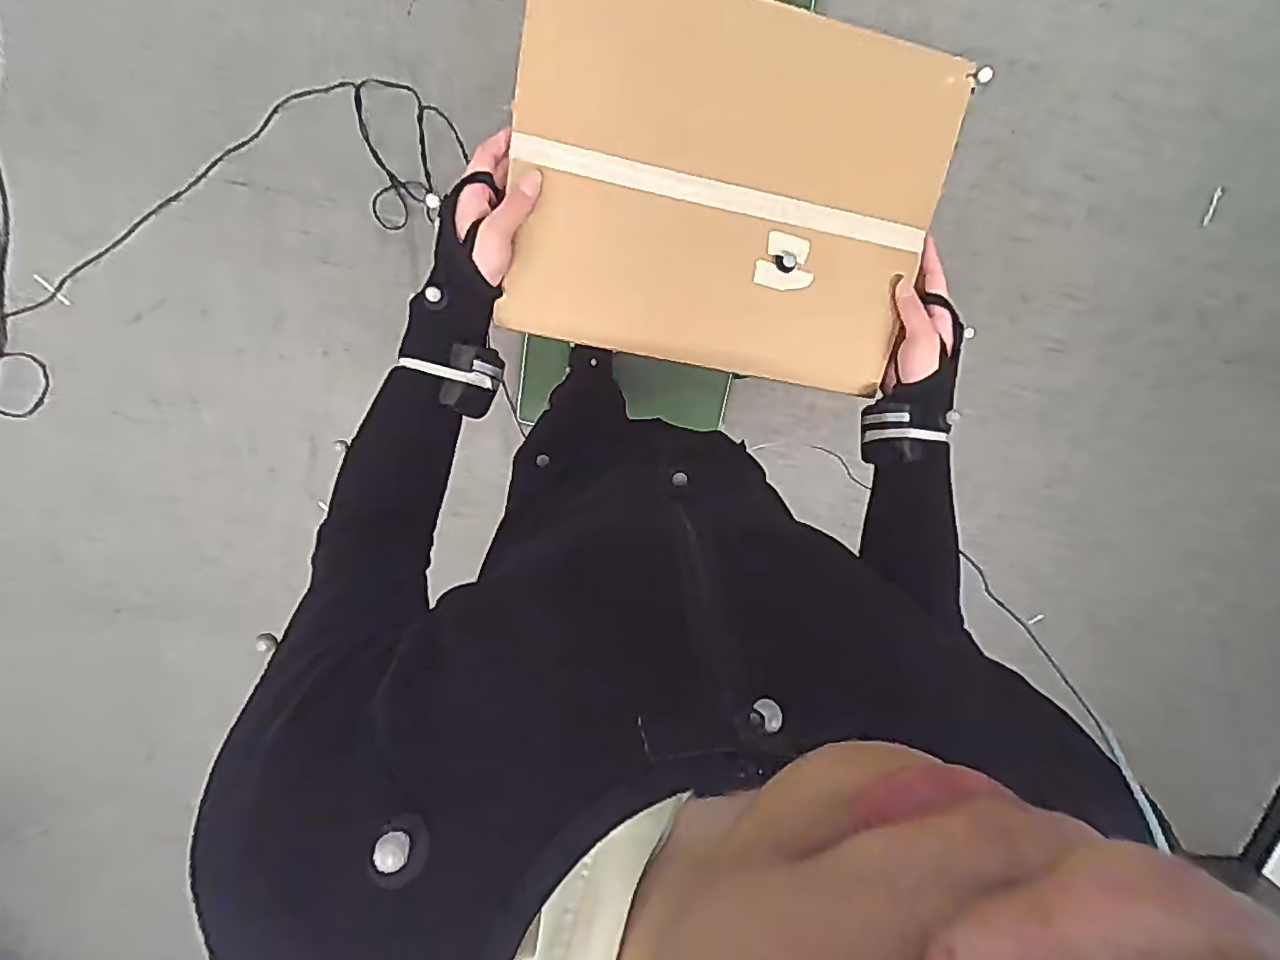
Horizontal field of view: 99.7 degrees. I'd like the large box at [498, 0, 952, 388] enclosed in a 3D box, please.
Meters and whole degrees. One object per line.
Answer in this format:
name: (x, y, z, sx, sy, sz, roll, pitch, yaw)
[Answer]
large box: (0.060, -0.311, 0.662, 0.408, 0.320, 0.320, 8, 106, -9)
